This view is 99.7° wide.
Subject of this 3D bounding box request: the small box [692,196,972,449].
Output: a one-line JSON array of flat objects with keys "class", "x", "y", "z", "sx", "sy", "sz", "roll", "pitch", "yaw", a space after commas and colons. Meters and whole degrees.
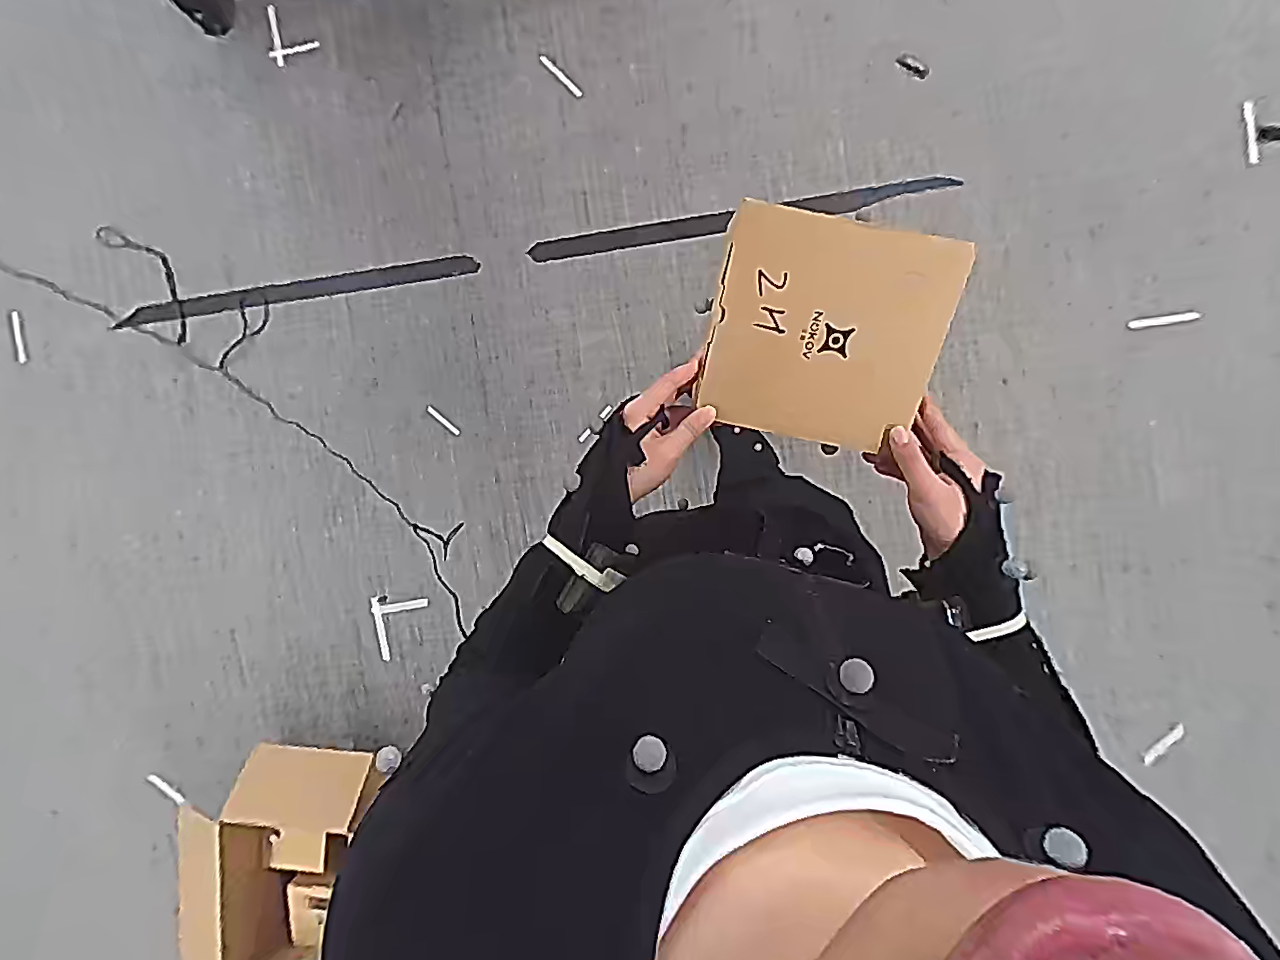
[{"class": "small box", "x": 0.149, "y": -0.143, "z": 0.494, "sx": 0.179, "sy": 0.176, "sz": 0.168, "roll": 12, "pitch": 110, "yaw": 2}]
